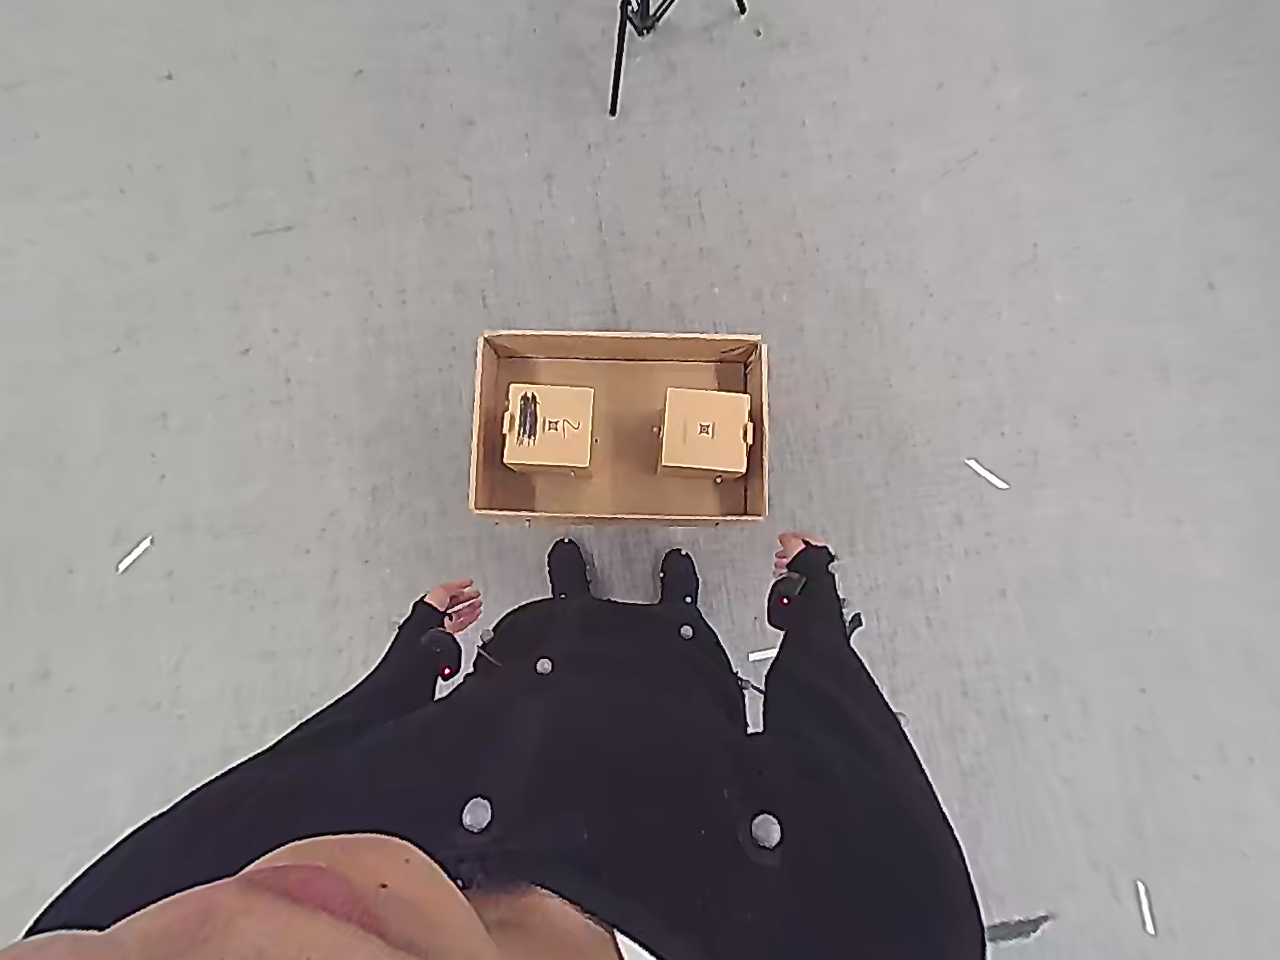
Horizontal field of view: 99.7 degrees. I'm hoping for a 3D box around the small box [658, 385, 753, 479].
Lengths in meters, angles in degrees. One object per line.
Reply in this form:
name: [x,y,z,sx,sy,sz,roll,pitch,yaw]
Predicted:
small box: [0.136,-0.097,1.173,0.179,0.176,0.168,5,82,0]
